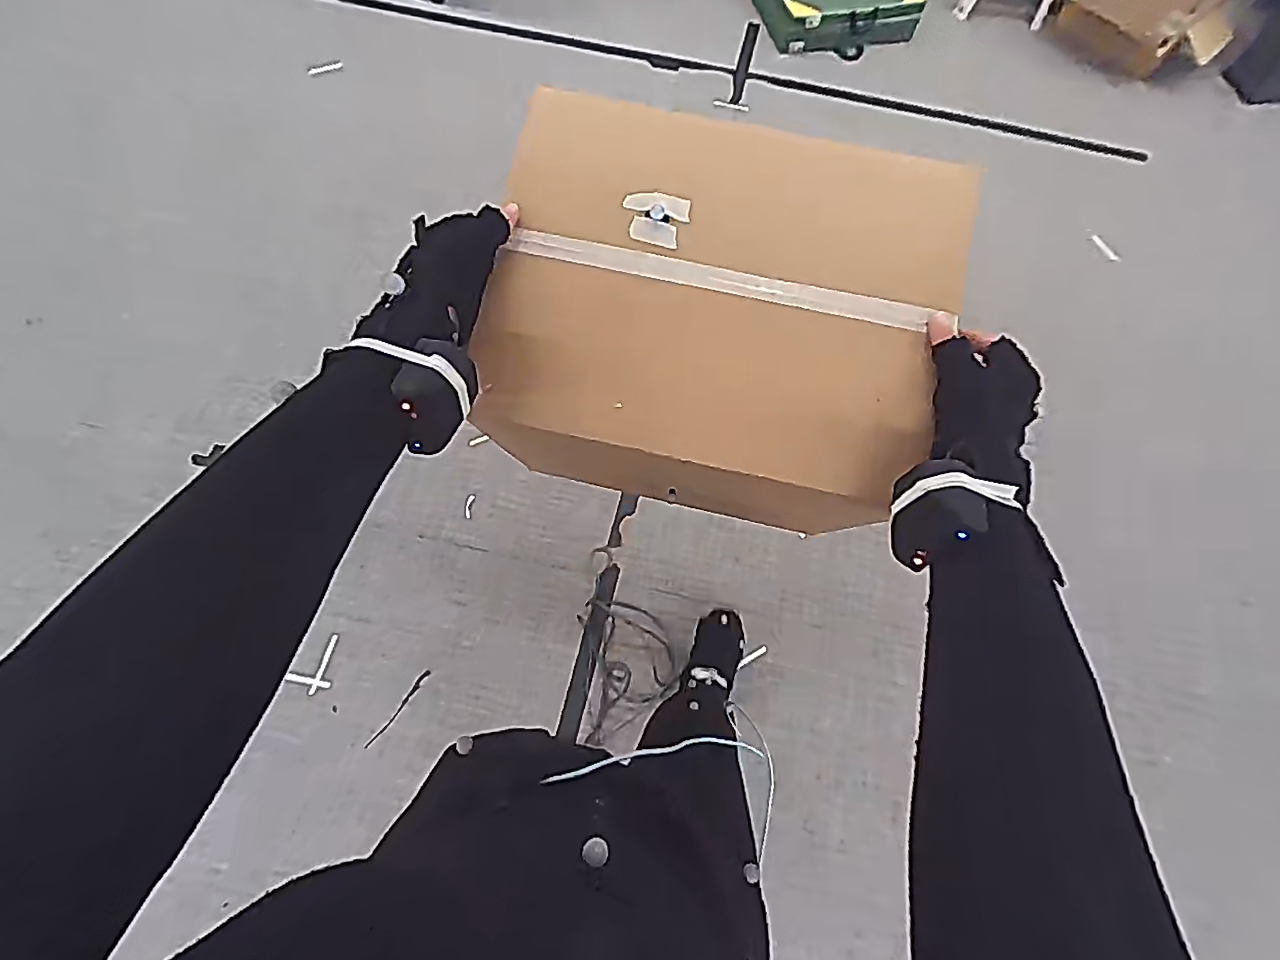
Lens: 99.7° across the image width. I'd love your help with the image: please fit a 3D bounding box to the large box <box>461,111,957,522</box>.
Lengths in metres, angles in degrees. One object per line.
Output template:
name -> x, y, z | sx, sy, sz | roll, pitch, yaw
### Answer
large box -> 0.073, -0.147, 0.631 | 0.408, 0.320, 0.320 | 13, 81, 4
